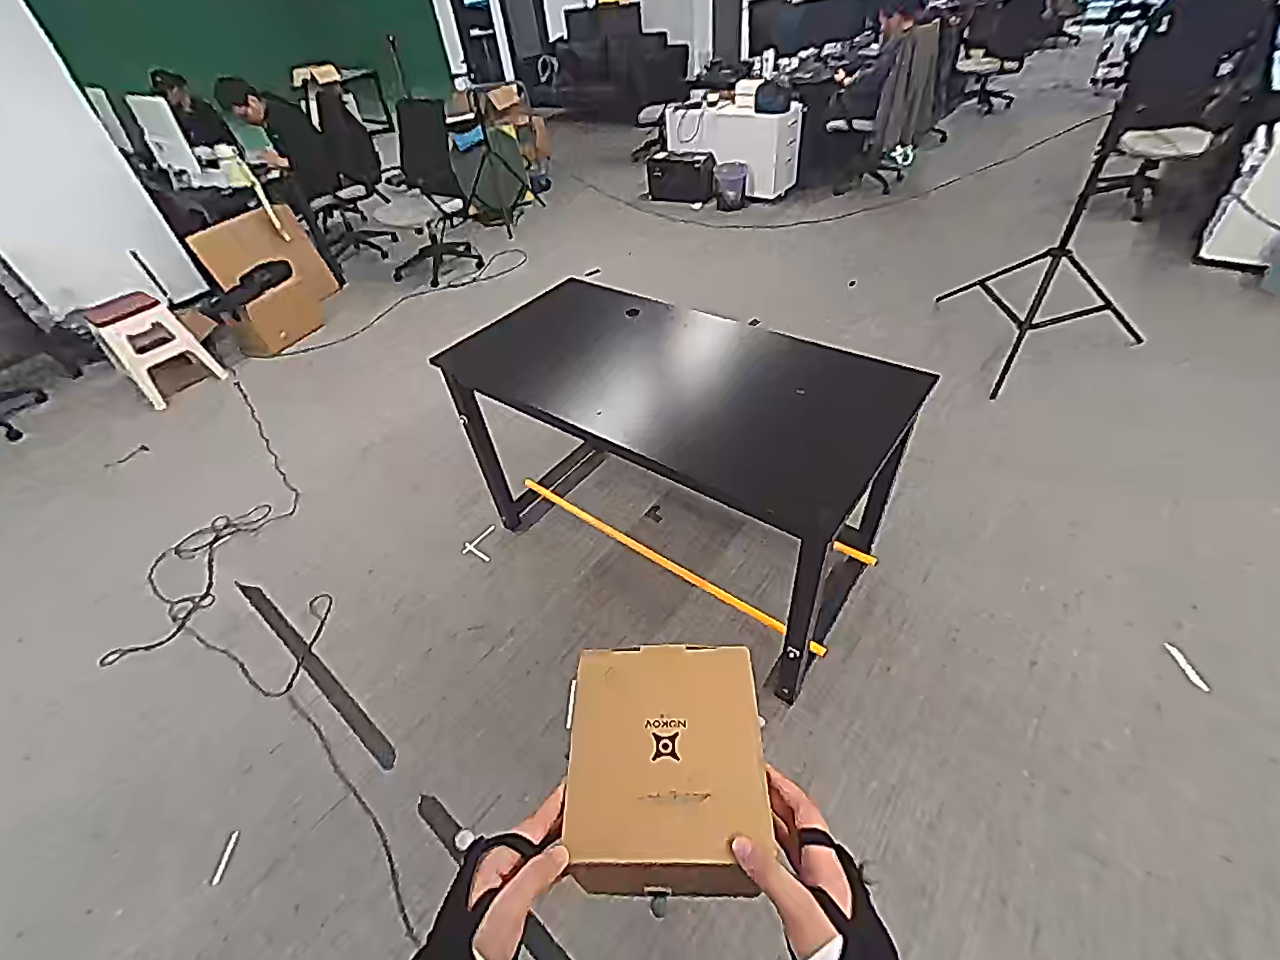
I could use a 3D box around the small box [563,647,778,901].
[{"bbox_3d":[0.029,0.282,0.520,0.168,0.176,0.179,-3,45,3],"label":"small box"}]
